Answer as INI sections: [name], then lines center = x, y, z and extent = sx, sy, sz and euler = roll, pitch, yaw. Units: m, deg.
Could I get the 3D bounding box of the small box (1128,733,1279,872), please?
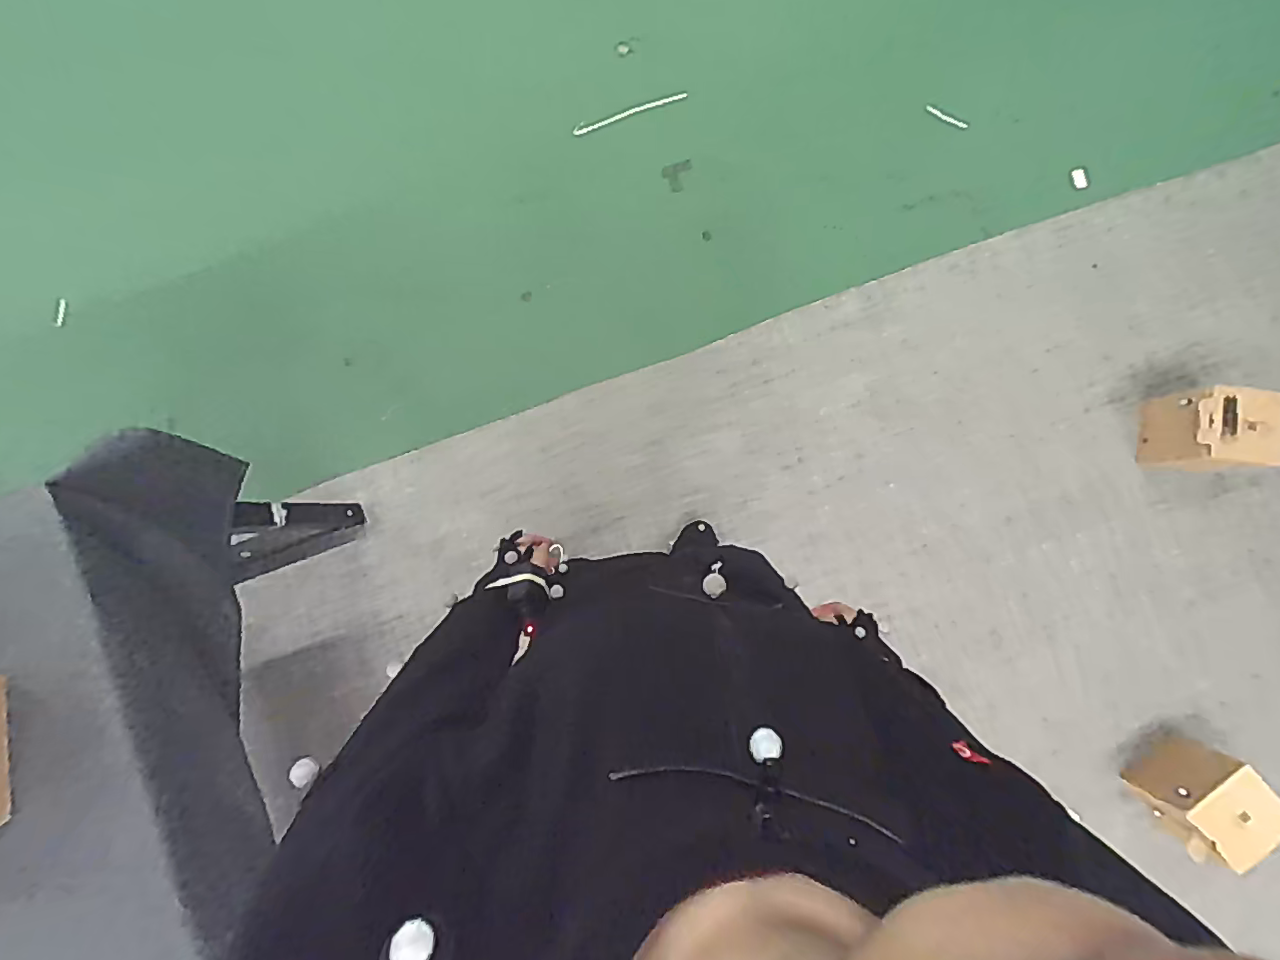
[small box]
center = 1.281, 0.713, 1.220
extent = 0.179, 0.176, 0.168
euler = -40, 86, 0
